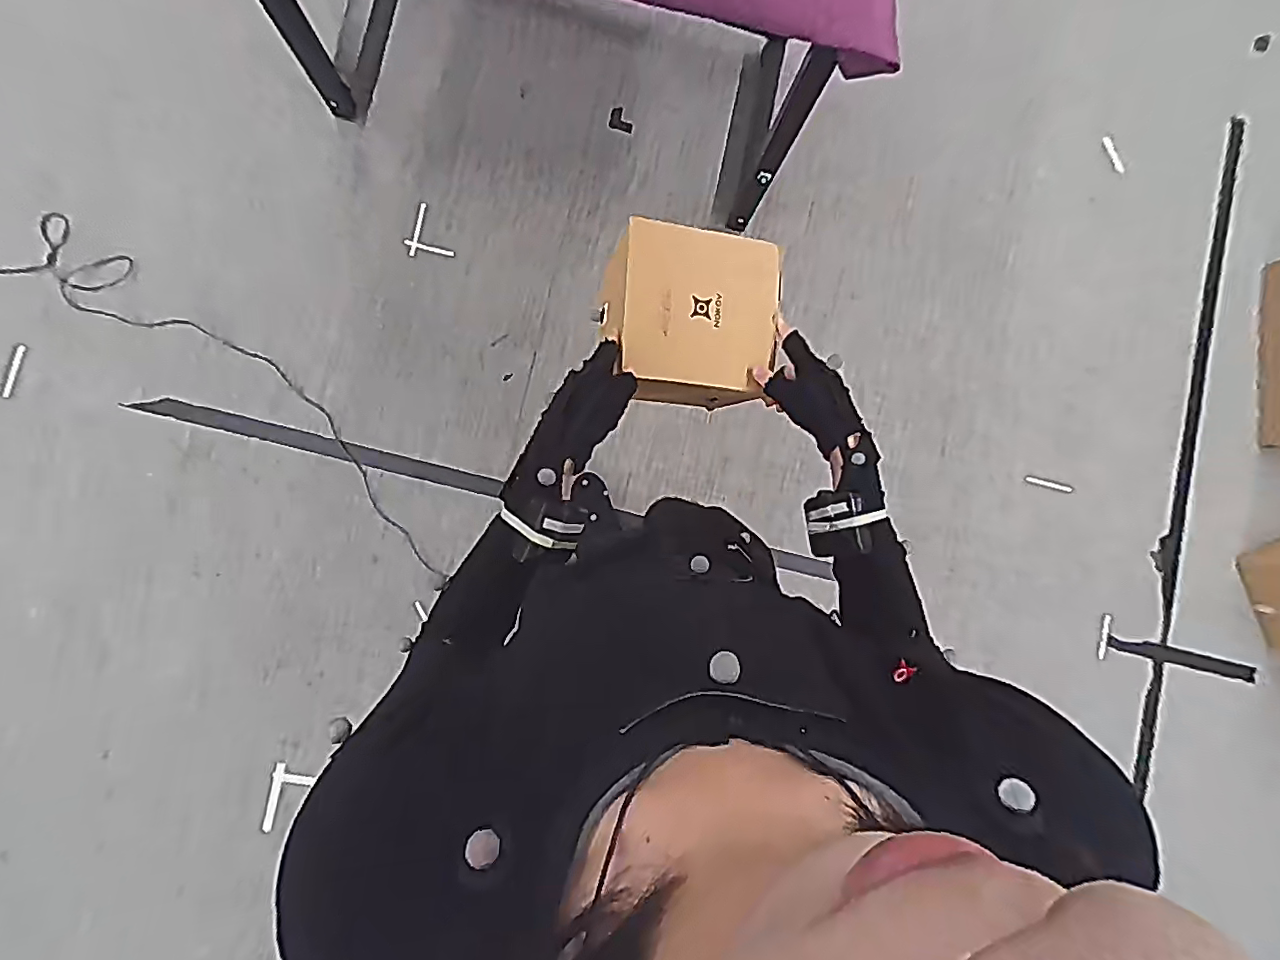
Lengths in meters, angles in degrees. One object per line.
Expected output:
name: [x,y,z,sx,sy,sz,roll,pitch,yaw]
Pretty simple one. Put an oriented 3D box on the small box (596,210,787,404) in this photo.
small box: [0.051,-0.185,0.638,0.179,0.176,0.168,3,89,-13]
